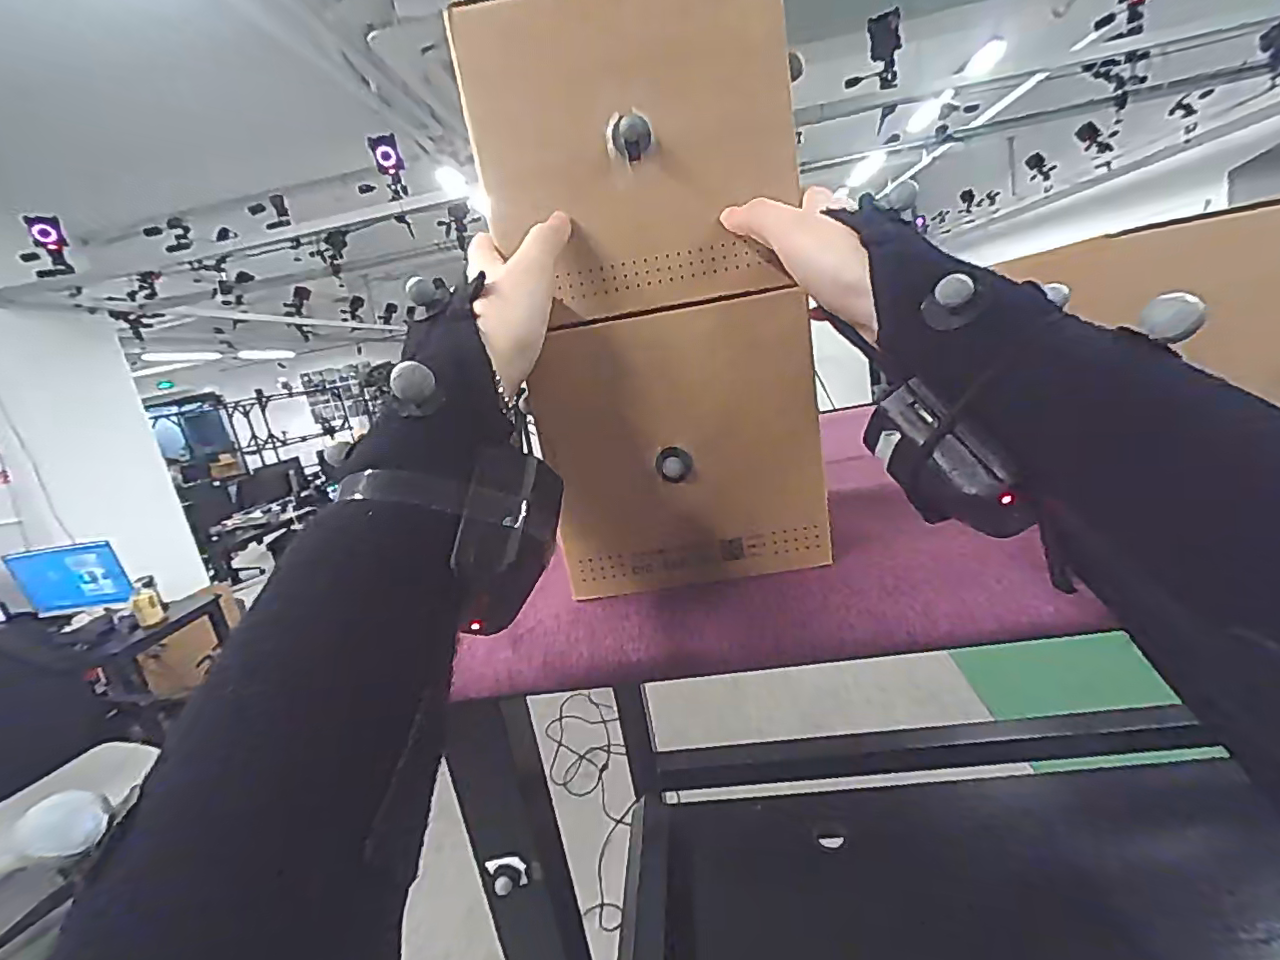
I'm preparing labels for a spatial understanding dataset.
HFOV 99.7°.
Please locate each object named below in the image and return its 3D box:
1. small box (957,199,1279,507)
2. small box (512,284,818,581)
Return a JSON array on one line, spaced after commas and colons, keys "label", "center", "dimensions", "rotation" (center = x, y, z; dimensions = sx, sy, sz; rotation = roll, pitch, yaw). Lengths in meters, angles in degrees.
[{"label": "small box", "center": [0.361, -0.091, 0.392], "dimensions": [0.179, 0.176, 0.168], "rotation": [-10, 13, 5]}, {"label": "small box", "center": [0.023, -0.034, 0.397], "dimensions": [0.168, 0.176, 0.179], "rotation": [-8, 14, 4]}]
